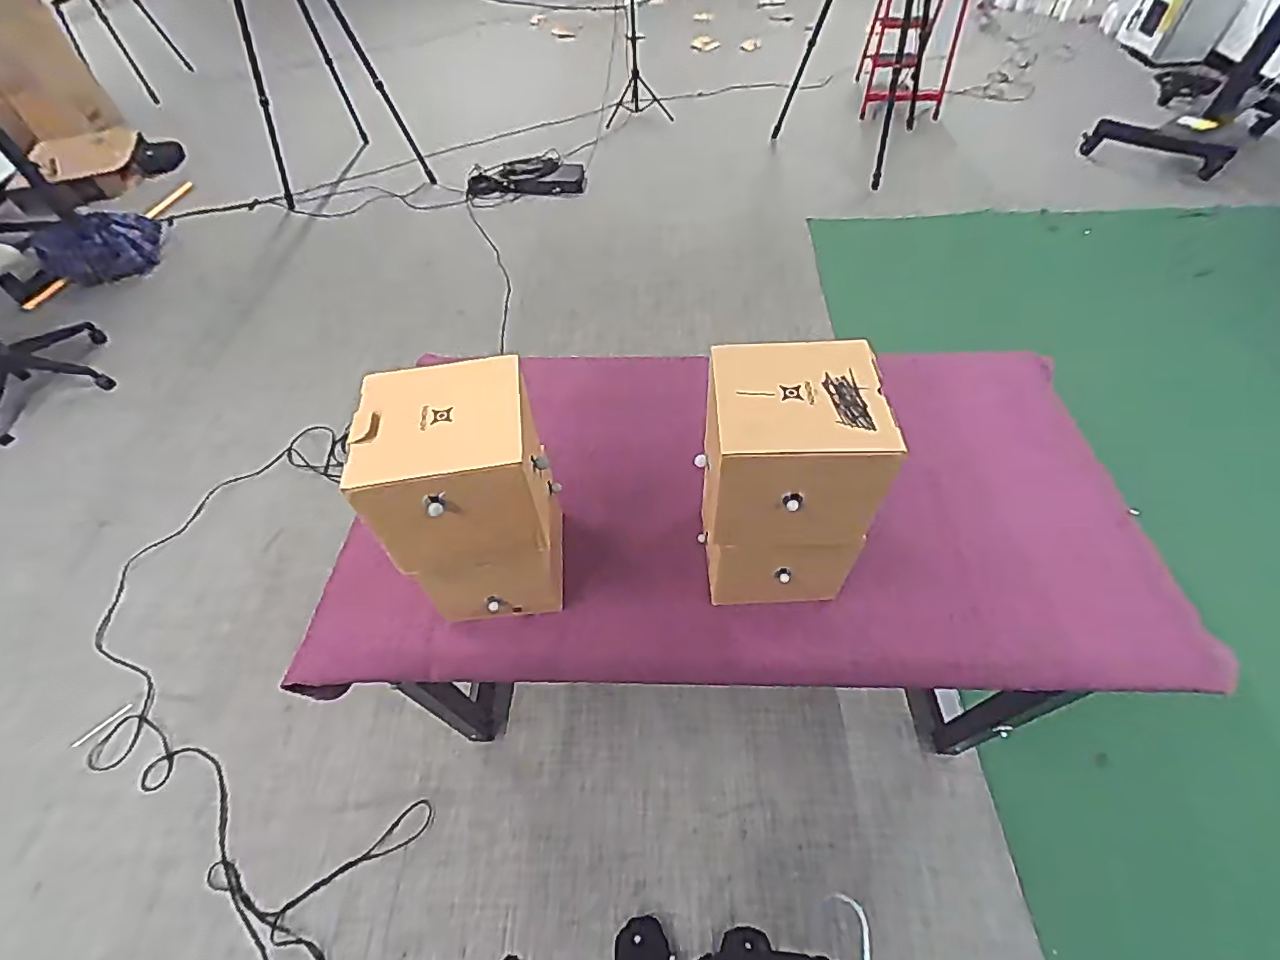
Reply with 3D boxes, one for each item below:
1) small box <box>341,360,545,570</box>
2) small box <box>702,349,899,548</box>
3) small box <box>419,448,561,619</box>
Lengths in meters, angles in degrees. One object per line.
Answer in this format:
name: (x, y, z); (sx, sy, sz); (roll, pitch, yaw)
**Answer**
small box: (-0.207, -0.013, 0.627); (0.179, 0.176, 0.168); (-8, 53, -4)
small box: (0.166, -0.032, 0.626); (0.179, 0.176, 0.168); (0, 52, 3)
small box: (-0.206, 0.077, 0.762); (0.168, 0.176, 0.179); (-5, 53, -1)
